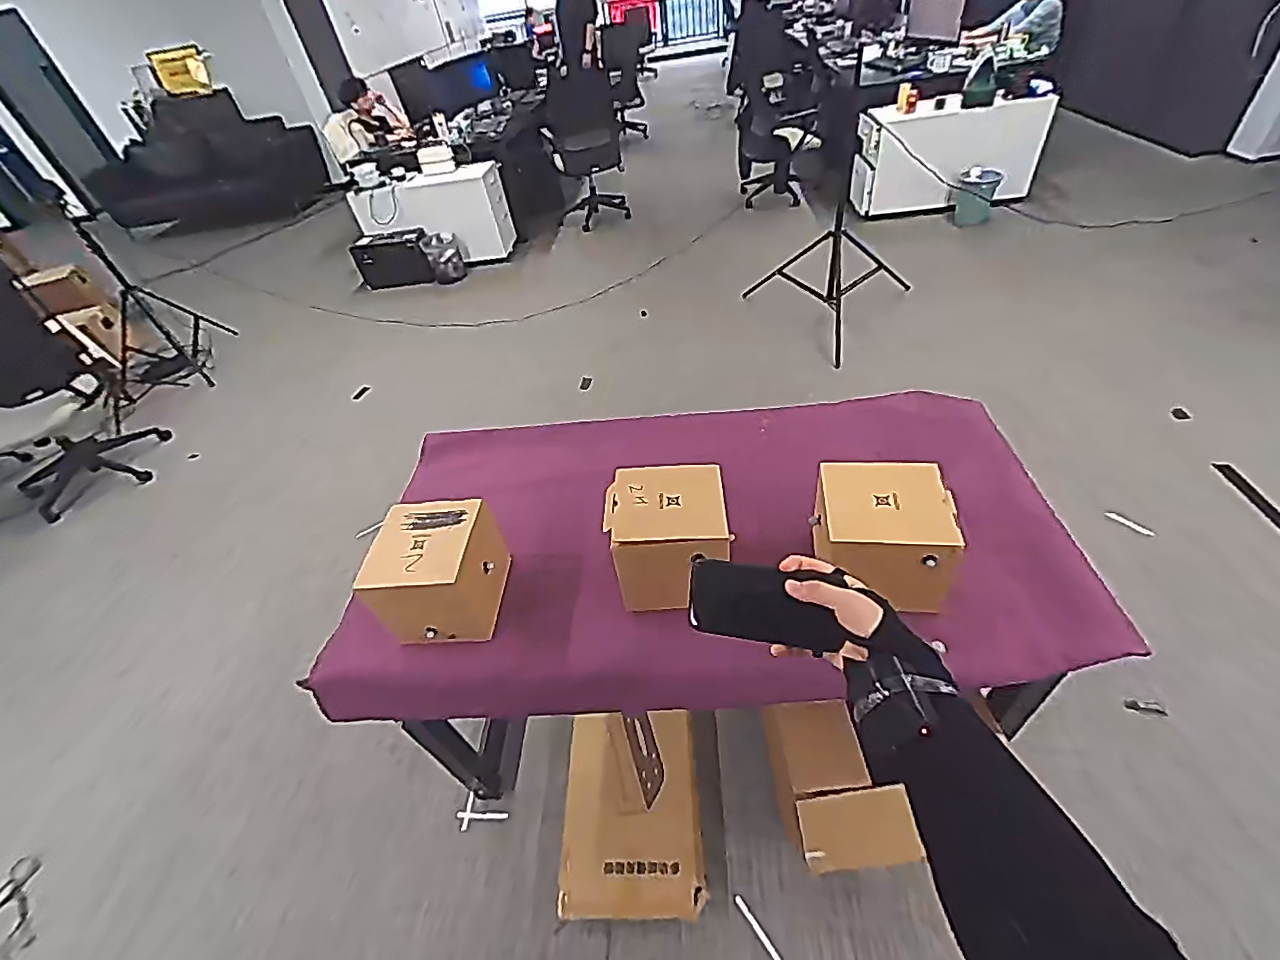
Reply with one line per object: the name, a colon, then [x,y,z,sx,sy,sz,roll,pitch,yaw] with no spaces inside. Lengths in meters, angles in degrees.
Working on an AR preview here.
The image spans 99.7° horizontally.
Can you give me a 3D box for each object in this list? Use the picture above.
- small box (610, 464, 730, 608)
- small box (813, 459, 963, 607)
small box: [0.054,0.094,0.894,0.179,0.176,0.168,-5,41,6]
small box: [0.369,0.083,0.844,0.179,0.176,0.168,0,44,11]
